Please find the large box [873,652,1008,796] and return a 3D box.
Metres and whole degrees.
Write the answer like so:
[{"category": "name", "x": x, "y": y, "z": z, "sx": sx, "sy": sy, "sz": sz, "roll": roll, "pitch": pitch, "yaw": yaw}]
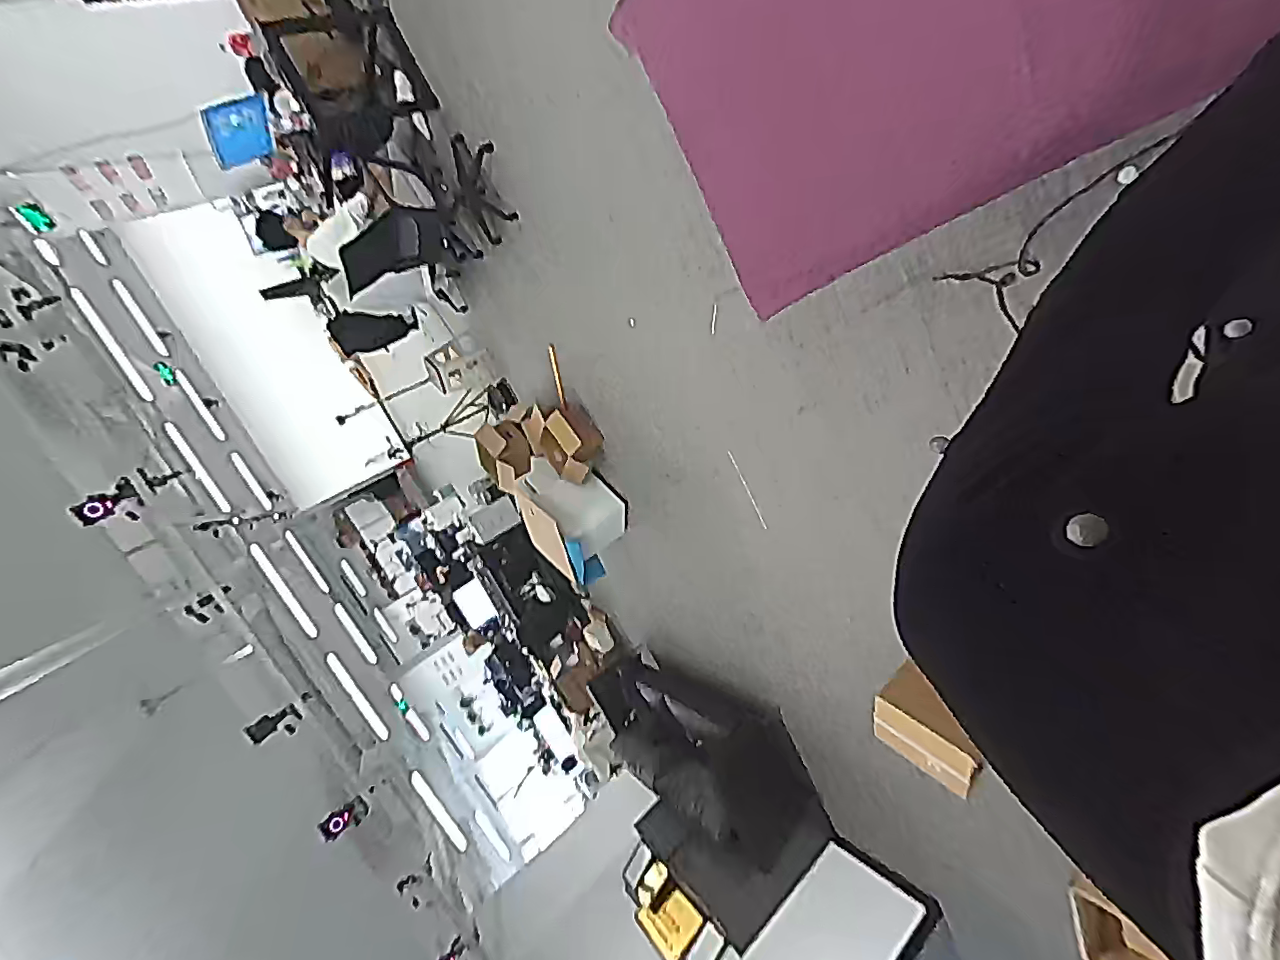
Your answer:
[{"category": "large box", "x": 1.265, "y": 1.021, "z": 2.305, "sx": 0.408, "sy": 0.320, "sz": 0.320, "roll": 26, "pitch": 141, "yaw": 45}]
